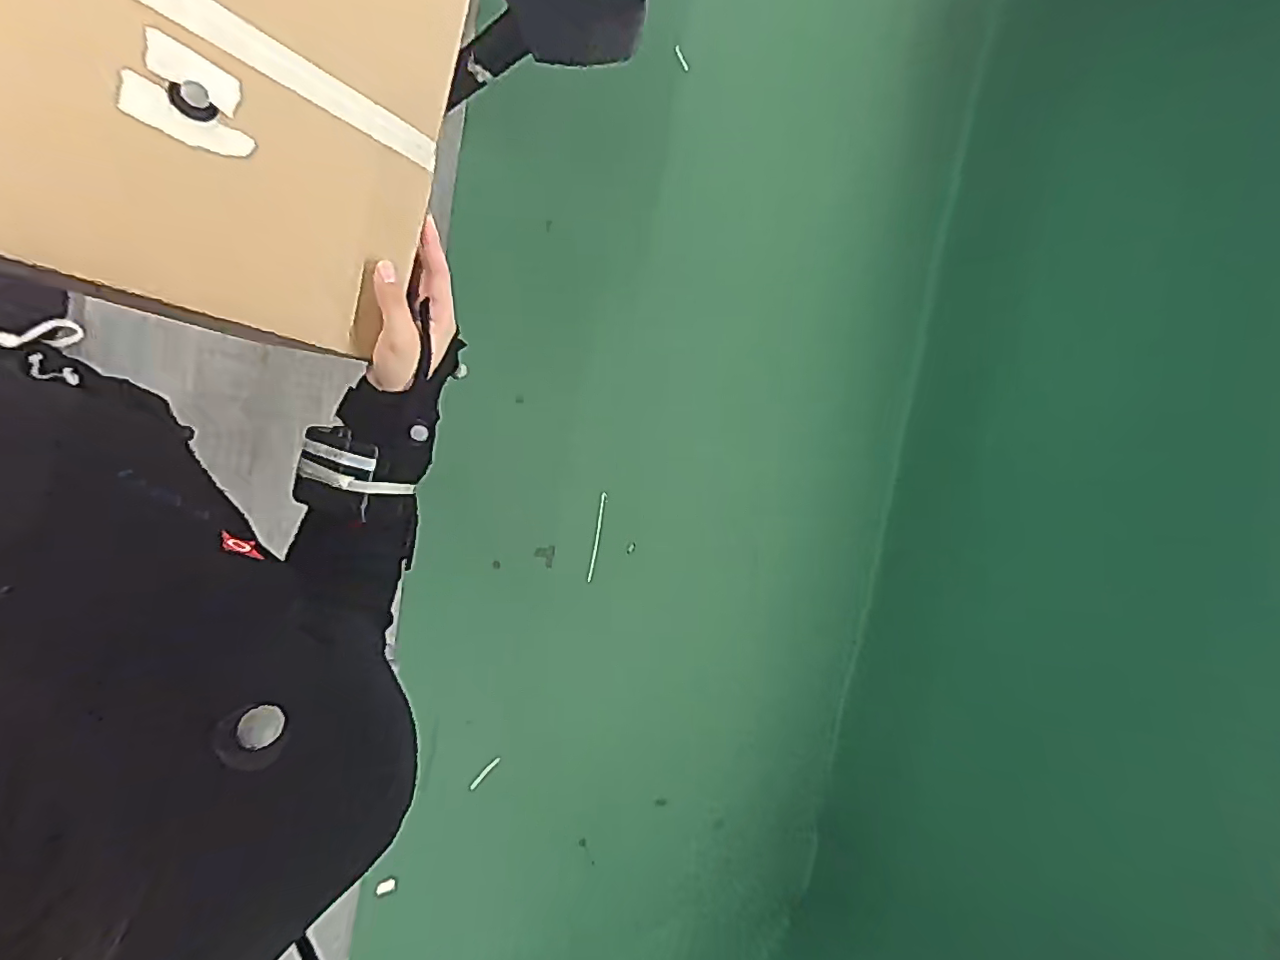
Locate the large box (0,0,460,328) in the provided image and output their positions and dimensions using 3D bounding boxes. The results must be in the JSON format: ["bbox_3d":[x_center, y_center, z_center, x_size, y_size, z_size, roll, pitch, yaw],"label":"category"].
[{"bbox_3d":[-0.394,-0.315,0.353,0.408,0.320,0.320,11,96,-50],"label":"large box"}]
